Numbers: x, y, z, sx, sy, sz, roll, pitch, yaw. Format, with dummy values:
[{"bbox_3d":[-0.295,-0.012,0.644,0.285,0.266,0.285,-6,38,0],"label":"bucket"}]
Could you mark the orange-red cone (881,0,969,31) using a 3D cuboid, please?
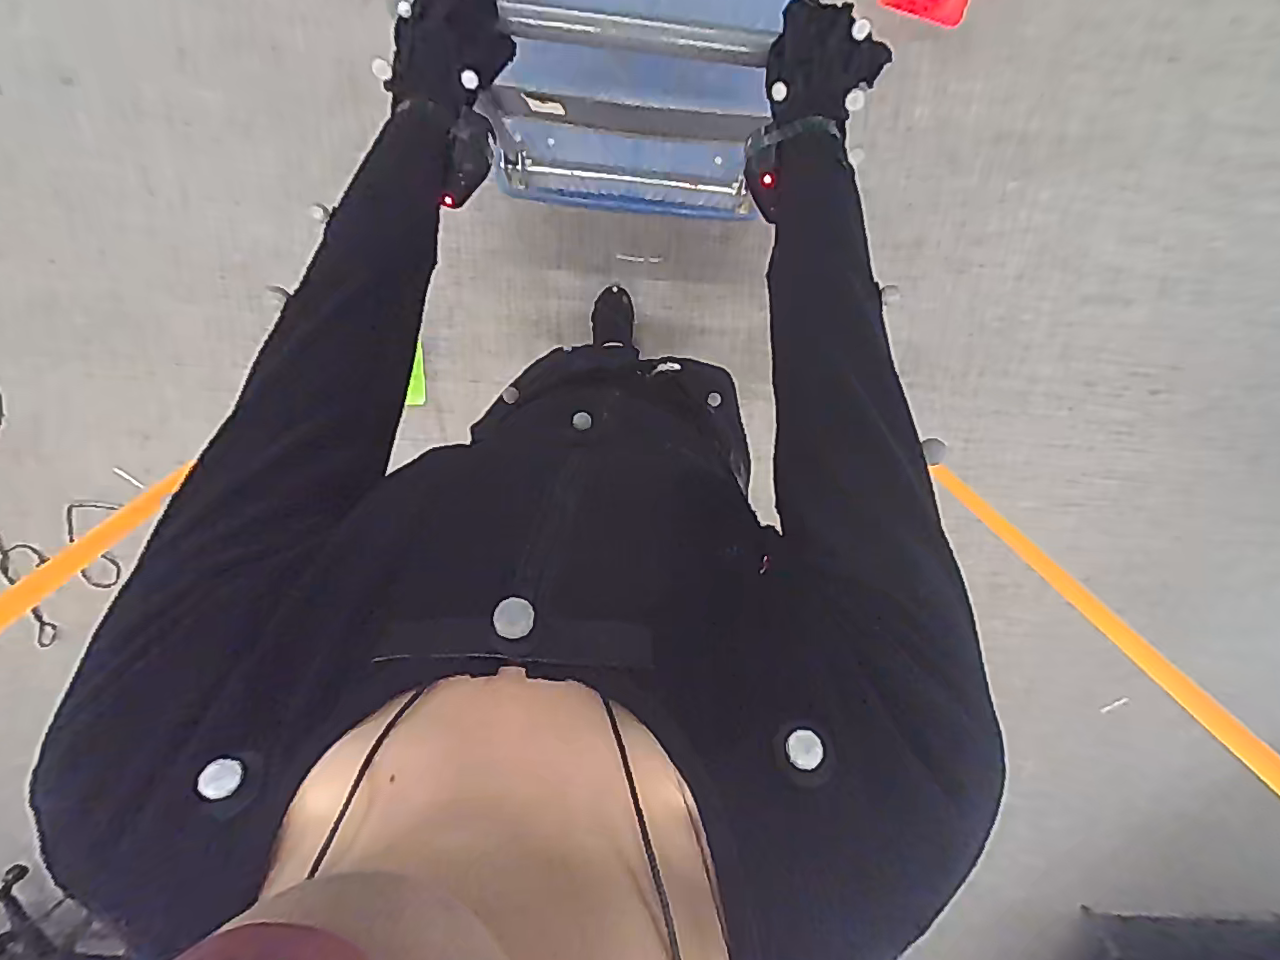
[{"bbox_3d":[0.644,-1.064,1.018,0.198,0.360,0.199,14,108,-5],"label":"orange-red cone"}]
